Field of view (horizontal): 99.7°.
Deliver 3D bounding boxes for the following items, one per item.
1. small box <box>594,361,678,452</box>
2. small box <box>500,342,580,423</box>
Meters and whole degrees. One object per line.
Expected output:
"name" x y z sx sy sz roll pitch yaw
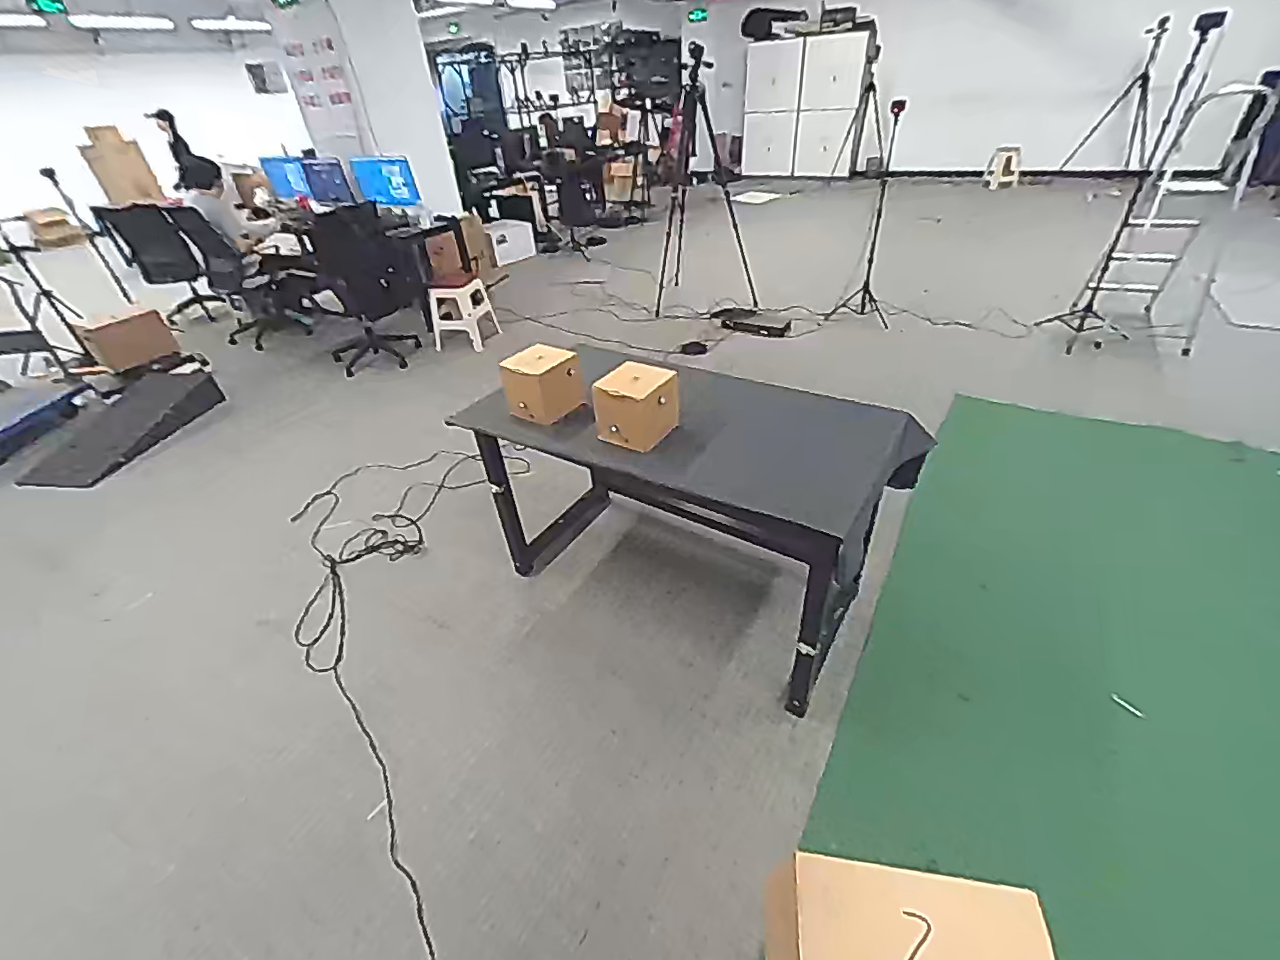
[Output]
"small box" -0.010 -0.205 1.493 0.168 0.176 0.179 20 43 28
"small box" -0.295 -0.297 1.636 0.168 0.176 0.179 21 42 30
